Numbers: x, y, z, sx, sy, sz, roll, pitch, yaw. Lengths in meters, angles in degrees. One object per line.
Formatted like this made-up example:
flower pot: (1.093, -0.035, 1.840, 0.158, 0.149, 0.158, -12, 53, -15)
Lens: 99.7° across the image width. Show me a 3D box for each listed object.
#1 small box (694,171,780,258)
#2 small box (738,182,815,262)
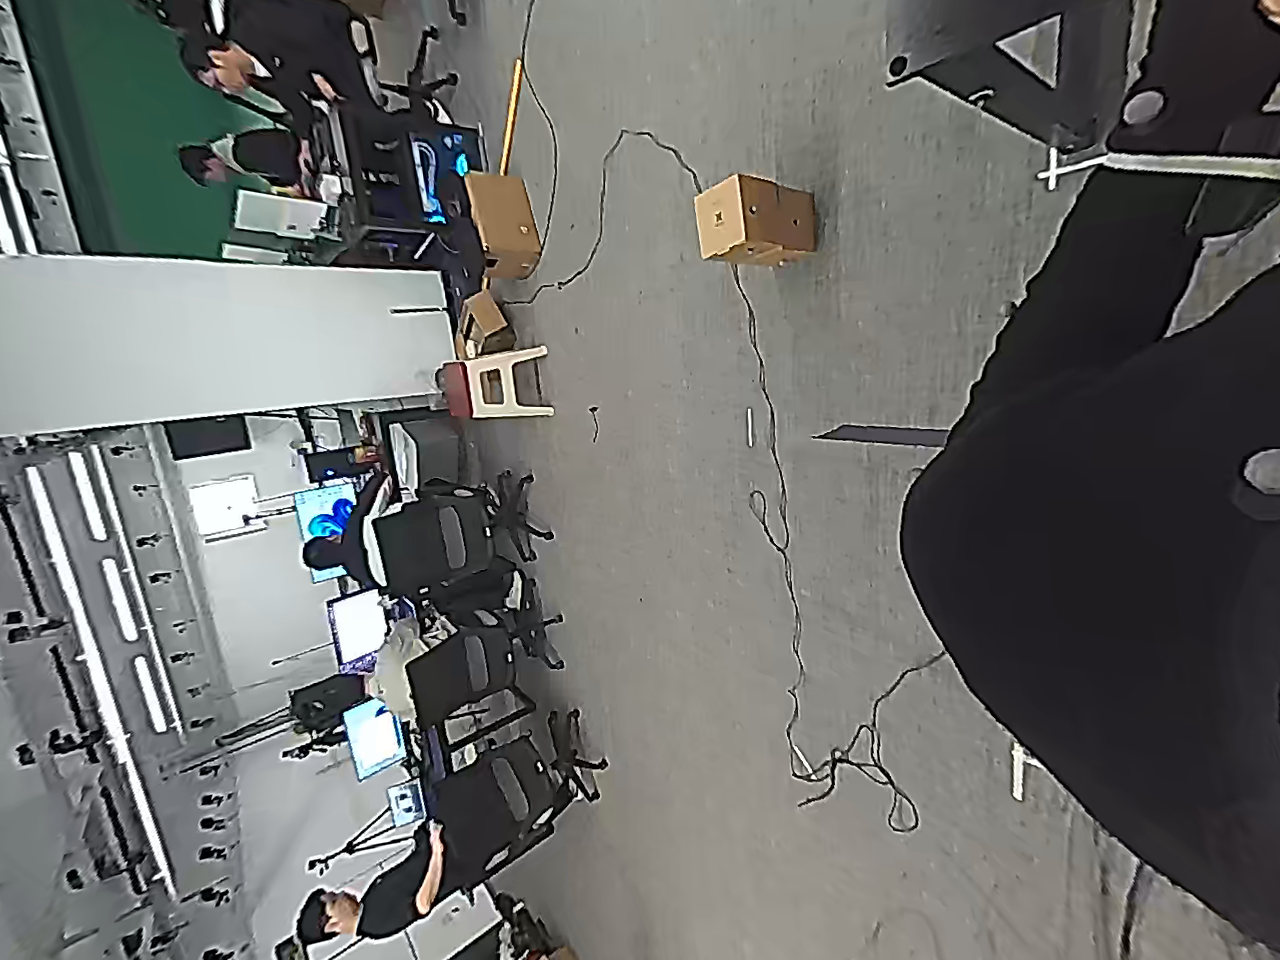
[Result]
small box: (0.279, -0.739, 1.526, 0.168, 0.176, 0.179, 0, 101, 51)
small box: (0.406, -0.766, 1.624, 0.168, 0.176, 0.179, 6, 107, 52)
